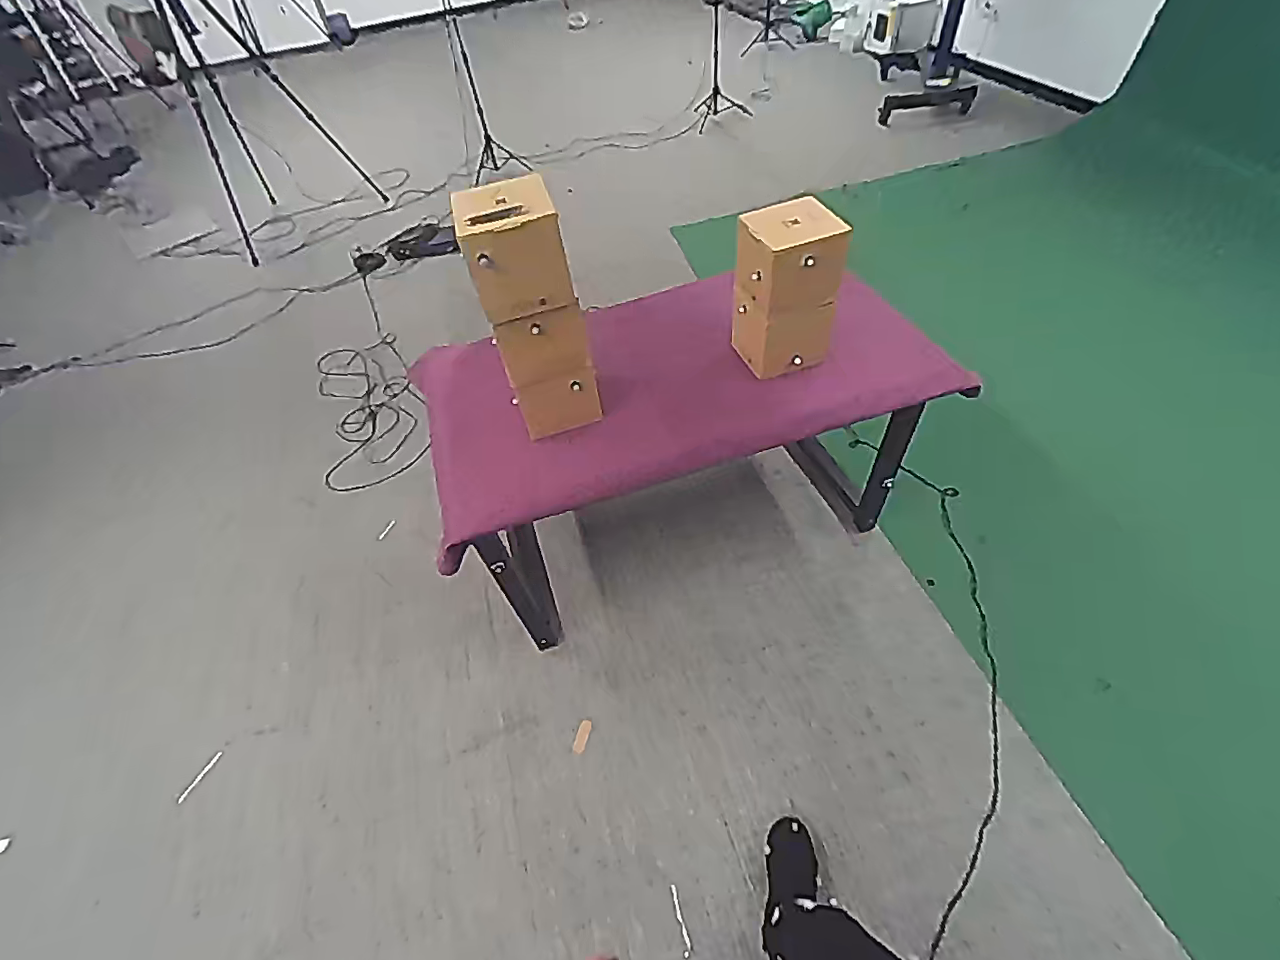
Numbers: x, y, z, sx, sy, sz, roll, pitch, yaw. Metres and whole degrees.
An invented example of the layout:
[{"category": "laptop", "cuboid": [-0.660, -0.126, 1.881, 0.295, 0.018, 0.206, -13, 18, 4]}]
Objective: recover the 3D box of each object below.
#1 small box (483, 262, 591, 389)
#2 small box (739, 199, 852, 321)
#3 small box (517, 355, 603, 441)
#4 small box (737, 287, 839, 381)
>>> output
[{"category": "small box", "cuboid": [-0.206, -0.318, 1.124, 0.179, 0.176, 0.168, -18, 52, -6]}, {"category": "small box", "cuboid": [0.325, -0.470, 1.167, 0.179, 0.176, 0.168, -18, 52, -6]}, {"category": "small box", "cuboid": [-0.190, -0.219, 1.251, 0.179, 0.176, 0.168, -17, 51, -6]}, {"category": "small box", "cuboid": [0.343, -0.367, 1.293, 0.179, 0.176, 0.168, -19, 51, -7]}]
